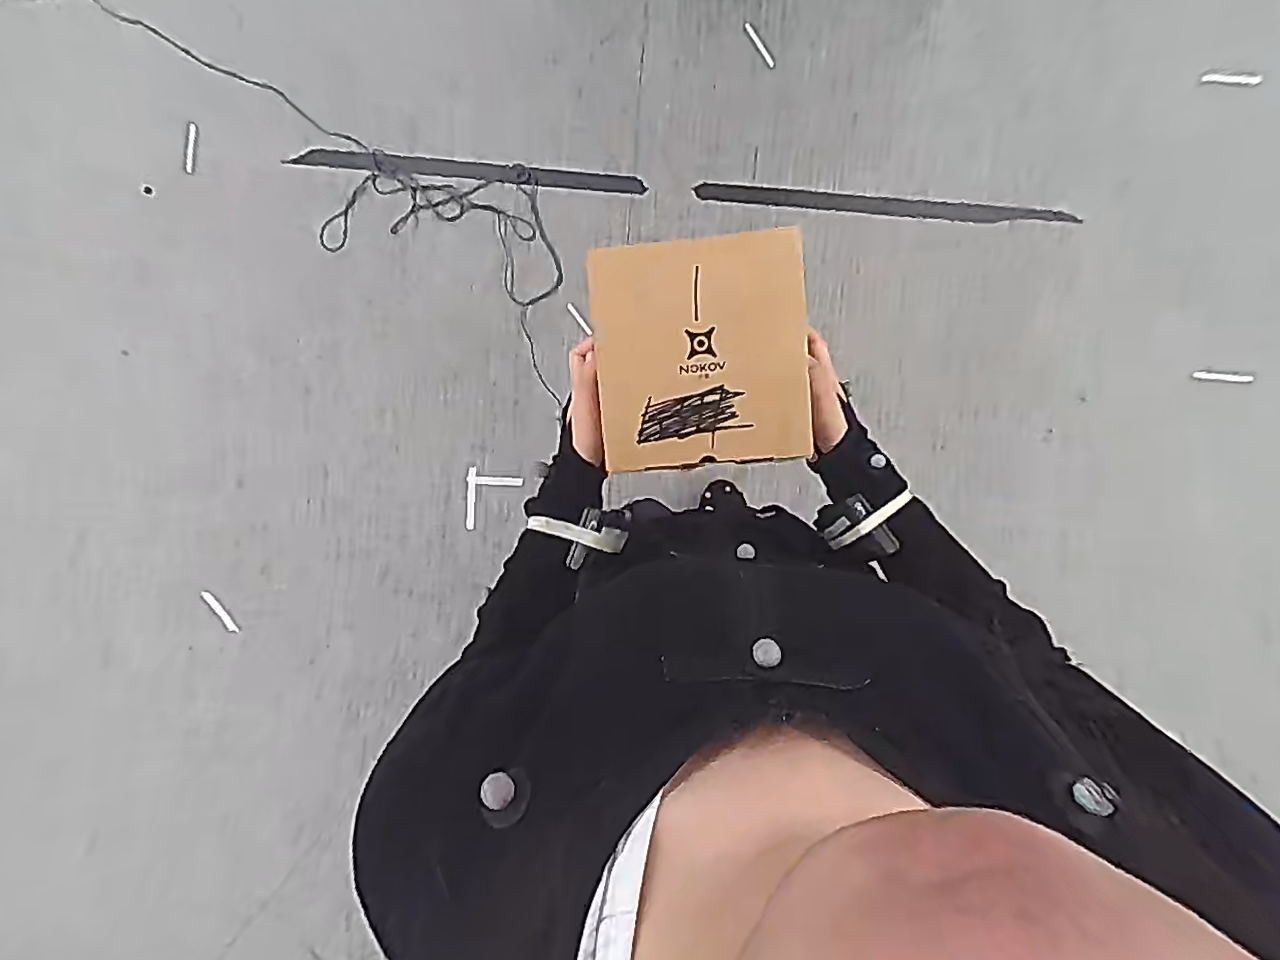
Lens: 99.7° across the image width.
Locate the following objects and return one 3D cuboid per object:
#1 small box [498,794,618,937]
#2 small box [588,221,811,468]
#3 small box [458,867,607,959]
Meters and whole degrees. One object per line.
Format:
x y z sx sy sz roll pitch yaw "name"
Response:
-0.126 0.619 0.831 0.168 0.176 0.179 7 89 2 "small box"
0.053 -0.112 0.496 0.168 0.176 0.179 -5 97 4 "small box"
-0.132 0.632 0.669 0.168 0.176 0.179 6 90 0 "small box"
